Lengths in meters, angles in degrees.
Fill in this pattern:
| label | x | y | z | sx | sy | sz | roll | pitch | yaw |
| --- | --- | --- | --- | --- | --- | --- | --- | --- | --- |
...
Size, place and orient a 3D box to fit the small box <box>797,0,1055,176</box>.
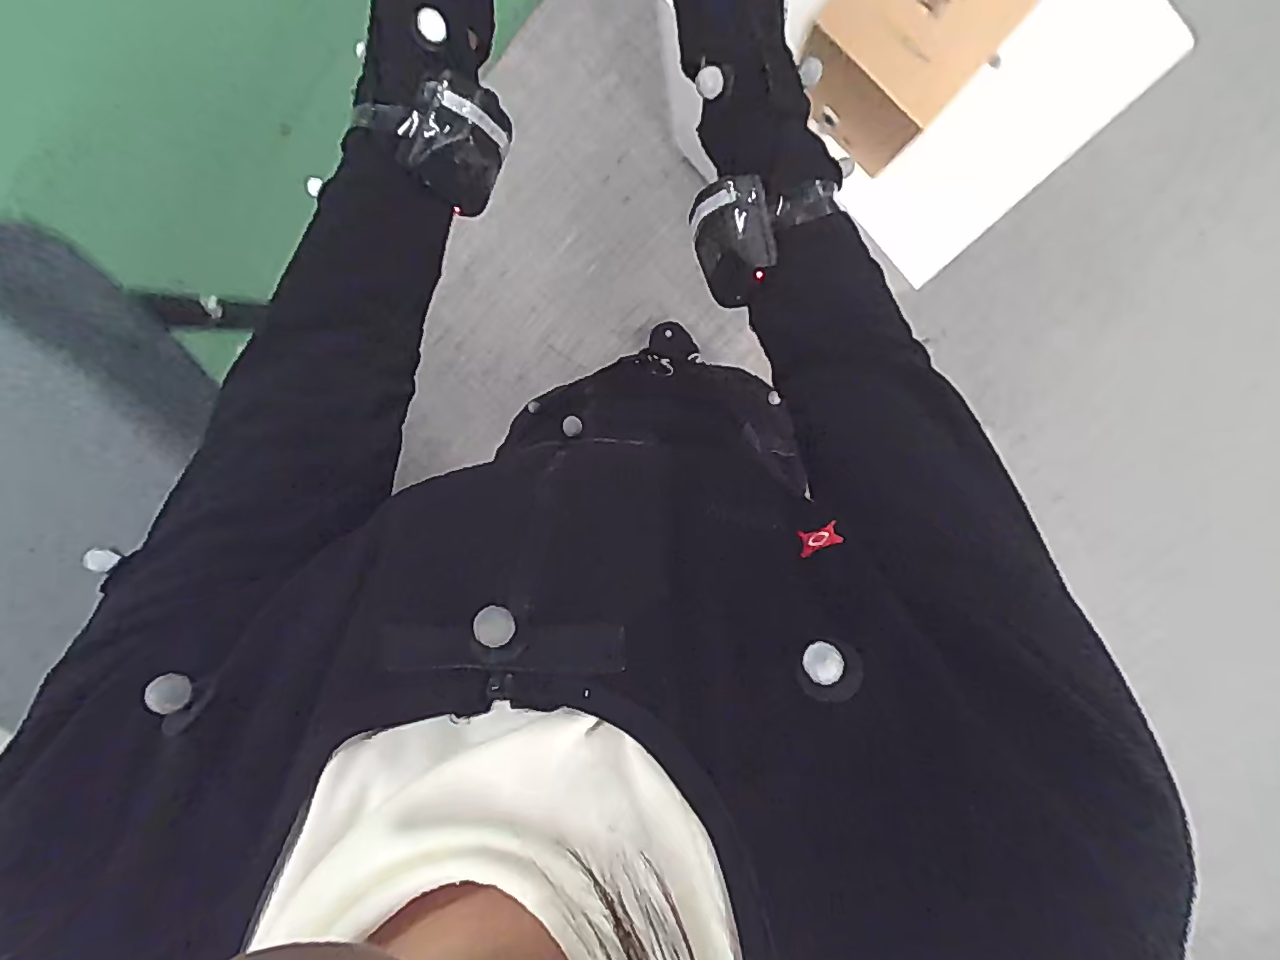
| label | x | y | z | sx | sy | sz | roll | pitch | yaw |
| --- | --- | --- | --- | --- | --- | --- | --- | --- | --- |
| small box | 0.296 | -0.479 | 0.592 | 0.168 | 0.176 | 0.179 | 42 | 106 | -4 |
